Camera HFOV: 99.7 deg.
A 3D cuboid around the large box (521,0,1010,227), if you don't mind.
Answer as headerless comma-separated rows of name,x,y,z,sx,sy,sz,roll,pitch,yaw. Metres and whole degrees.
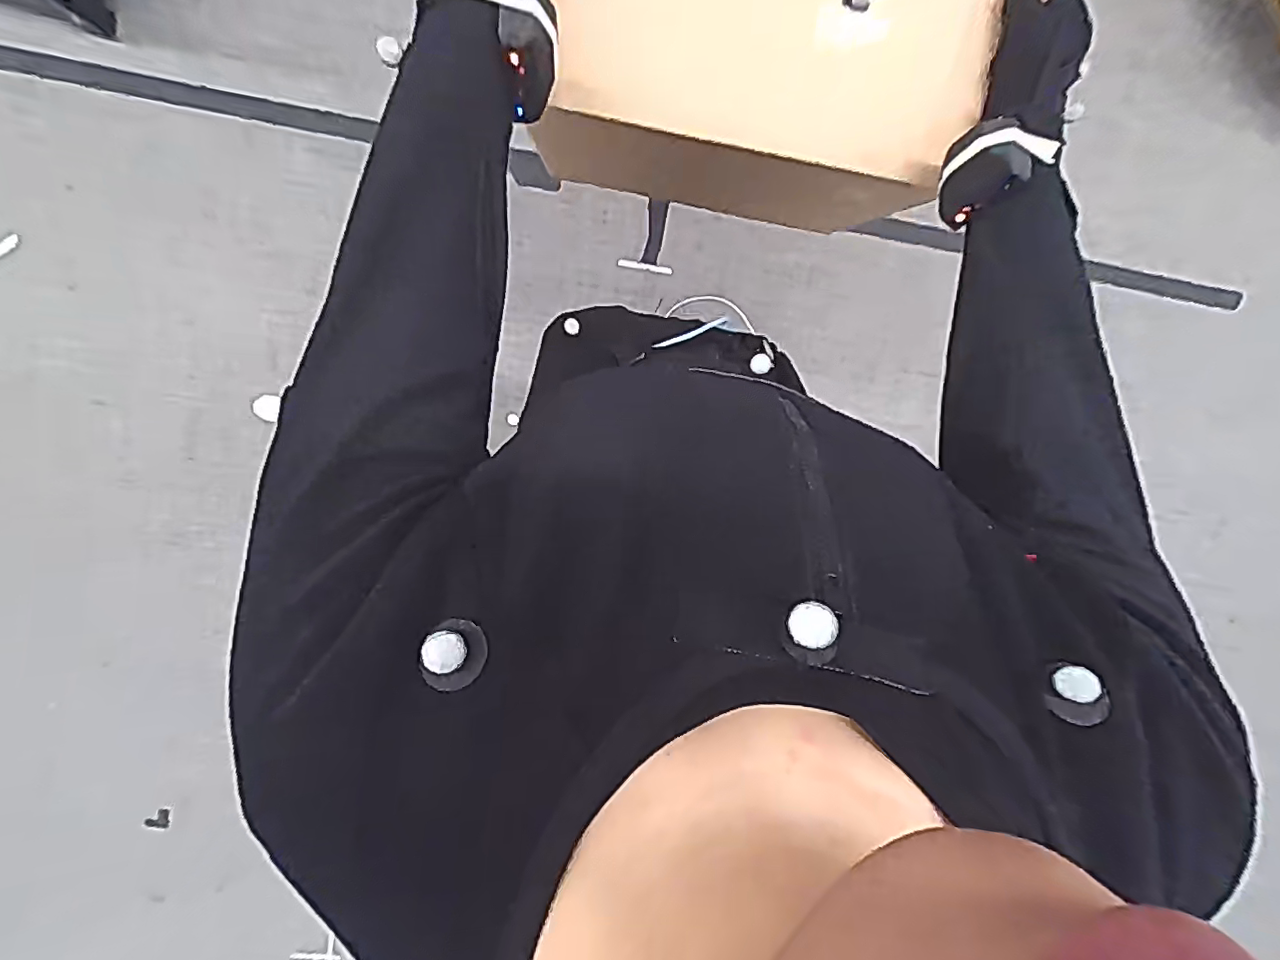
large box,0.108,-0.486,0.572,0.408,0.320,0.320,9,109,-6
